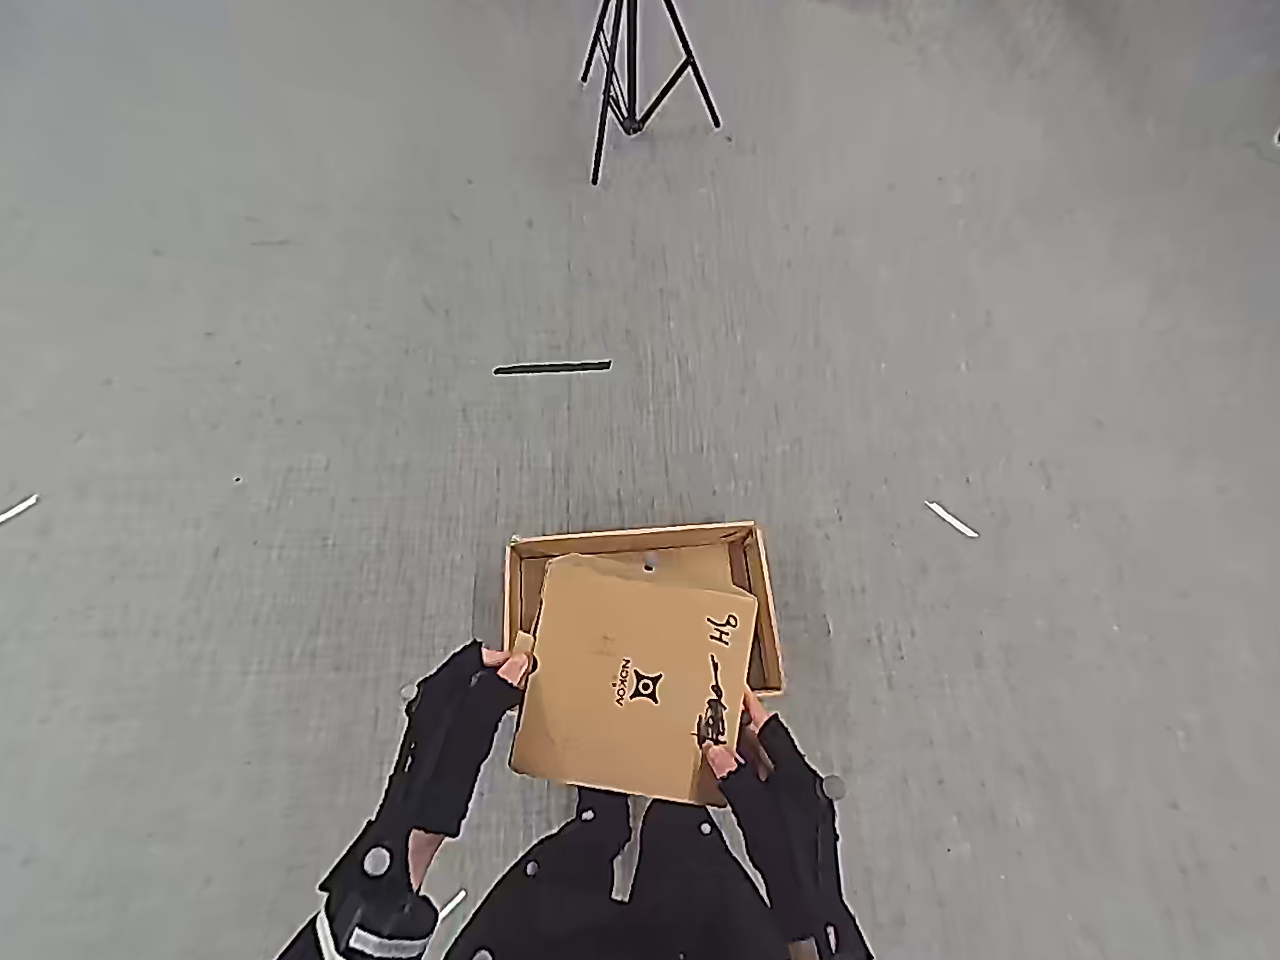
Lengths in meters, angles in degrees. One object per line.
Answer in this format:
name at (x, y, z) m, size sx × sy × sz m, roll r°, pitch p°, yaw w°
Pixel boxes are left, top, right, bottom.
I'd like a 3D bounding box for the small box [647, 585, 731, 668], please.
small box at (0.109, 0.349, 1.280) m, size 0.179 × 0.176 × 0.168 m, roll -4°, pitch 67°, yaw -1°
